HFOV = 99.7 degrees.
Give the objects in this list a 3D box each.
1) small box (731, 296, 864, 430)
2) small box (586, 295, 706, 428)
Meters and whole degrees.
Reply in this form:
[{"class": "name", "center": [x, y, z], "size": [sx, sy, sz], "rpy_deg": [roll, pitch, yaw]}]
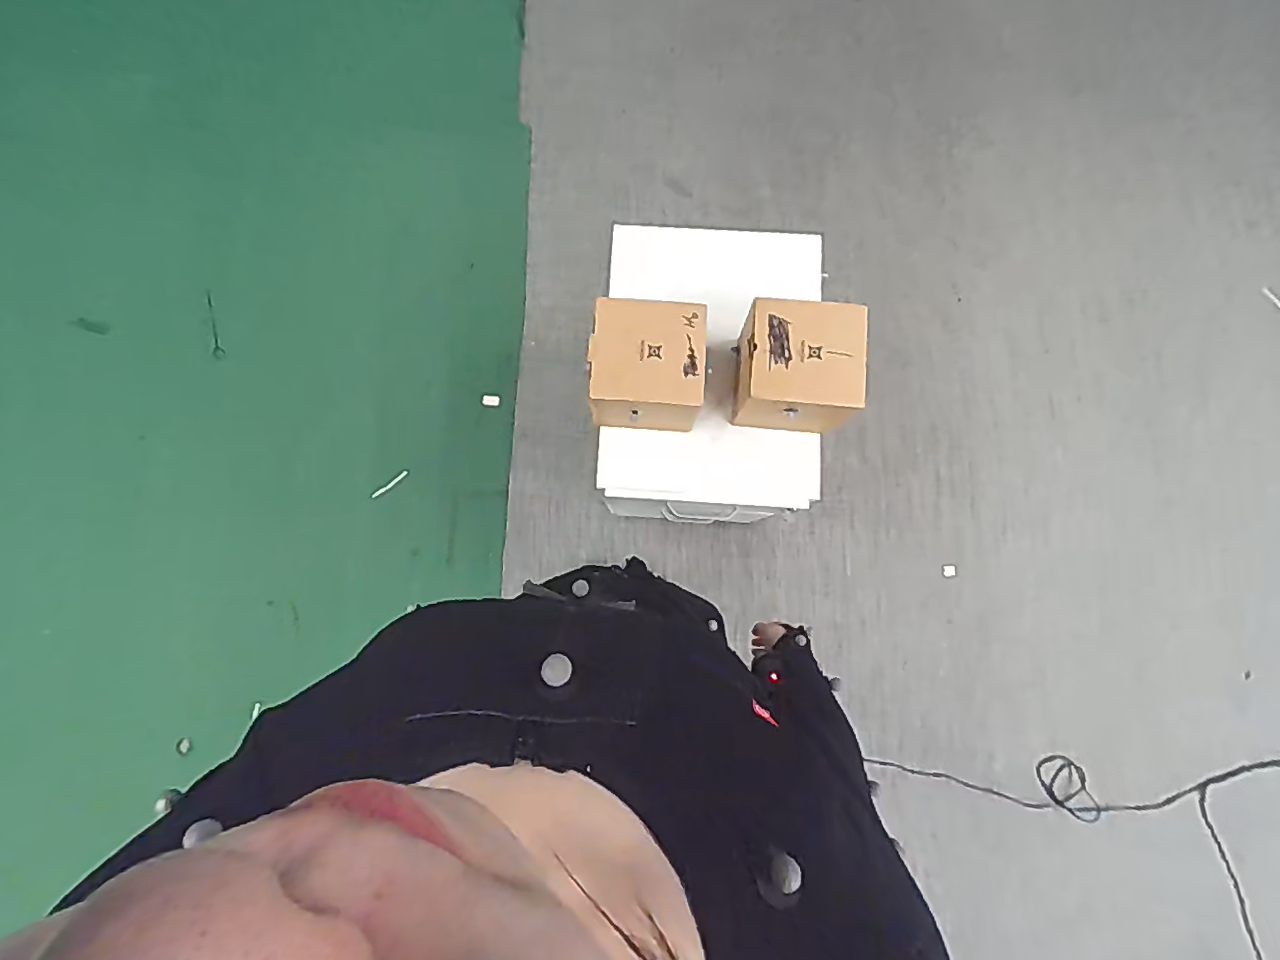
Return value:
[{"class": "small box", "center": [0.254, -0.186, 0.904], "size": [0.179, 0.176, 0.168], "rpy_deg": [5, 82, 0]}, {"class": "small box", "center": [0.009, -0.188, 0.901], "size": [0.179, 0.176, 0.168], "rpy_deg": [4, 82, -1]}]
